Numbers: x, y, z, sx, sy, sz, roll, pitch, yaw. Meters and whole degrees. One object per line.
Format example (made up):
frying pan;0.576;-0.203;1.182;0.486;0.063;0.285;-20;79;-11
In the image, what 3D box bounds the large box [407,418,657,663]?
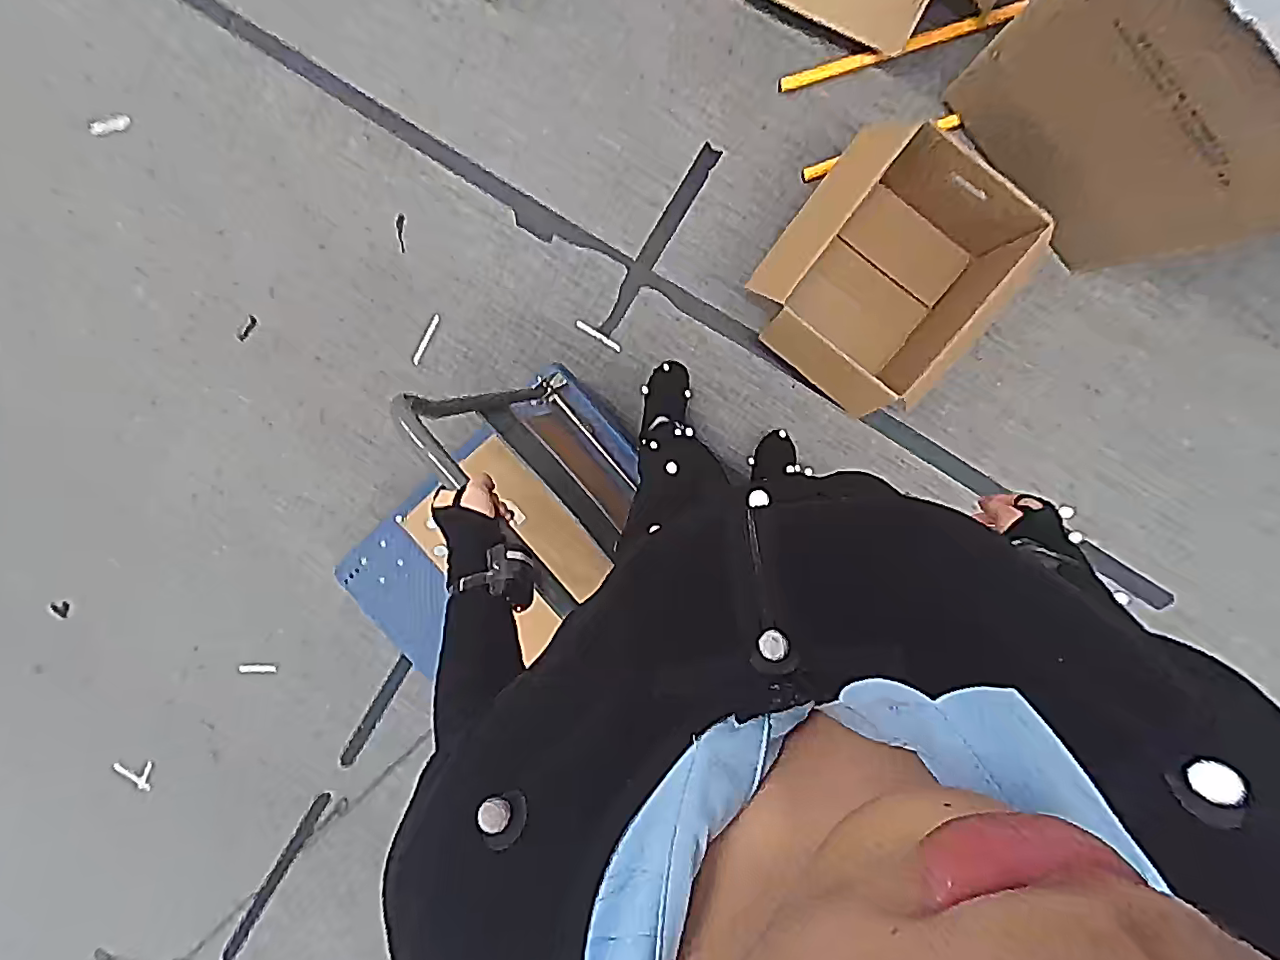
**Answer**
large box;-0.216;0.116;1.225;0.320;0.320;0.408;-39;93;13
